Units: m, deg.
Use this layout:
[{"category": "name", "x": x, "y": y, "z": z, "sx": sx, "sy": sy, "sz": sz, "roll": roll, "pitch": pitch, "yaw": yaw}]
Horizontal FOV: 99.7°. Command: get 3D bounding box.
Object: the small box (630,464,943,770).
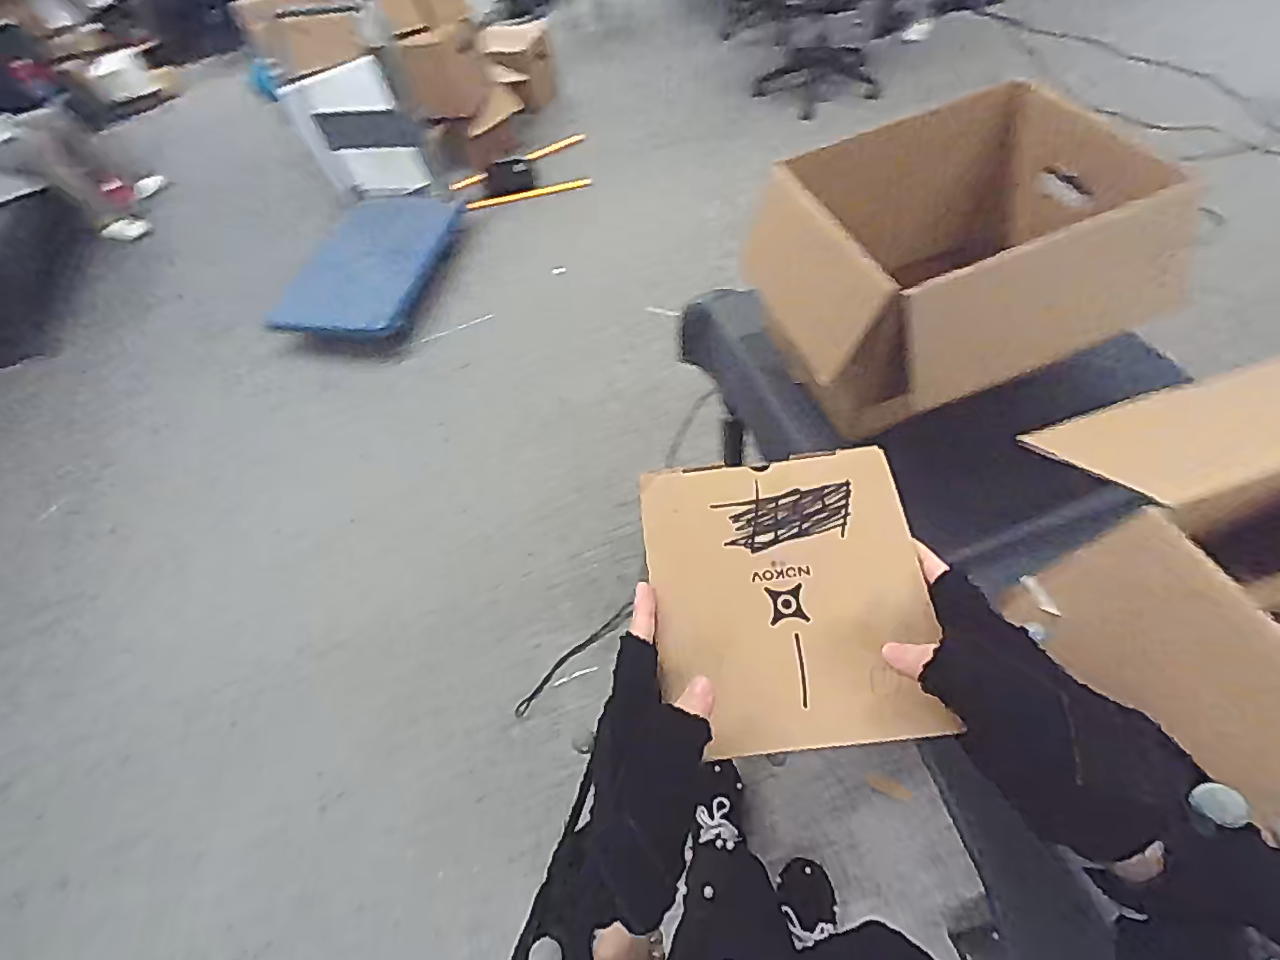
[{"category": "small box", "x": 0.083, "y": 0.109, "z": 0.408, "sx": 0.168, "sy": 0.176, "sz": 0.179, "roll": -7, "pitch": 66, "yaw": 0}]
